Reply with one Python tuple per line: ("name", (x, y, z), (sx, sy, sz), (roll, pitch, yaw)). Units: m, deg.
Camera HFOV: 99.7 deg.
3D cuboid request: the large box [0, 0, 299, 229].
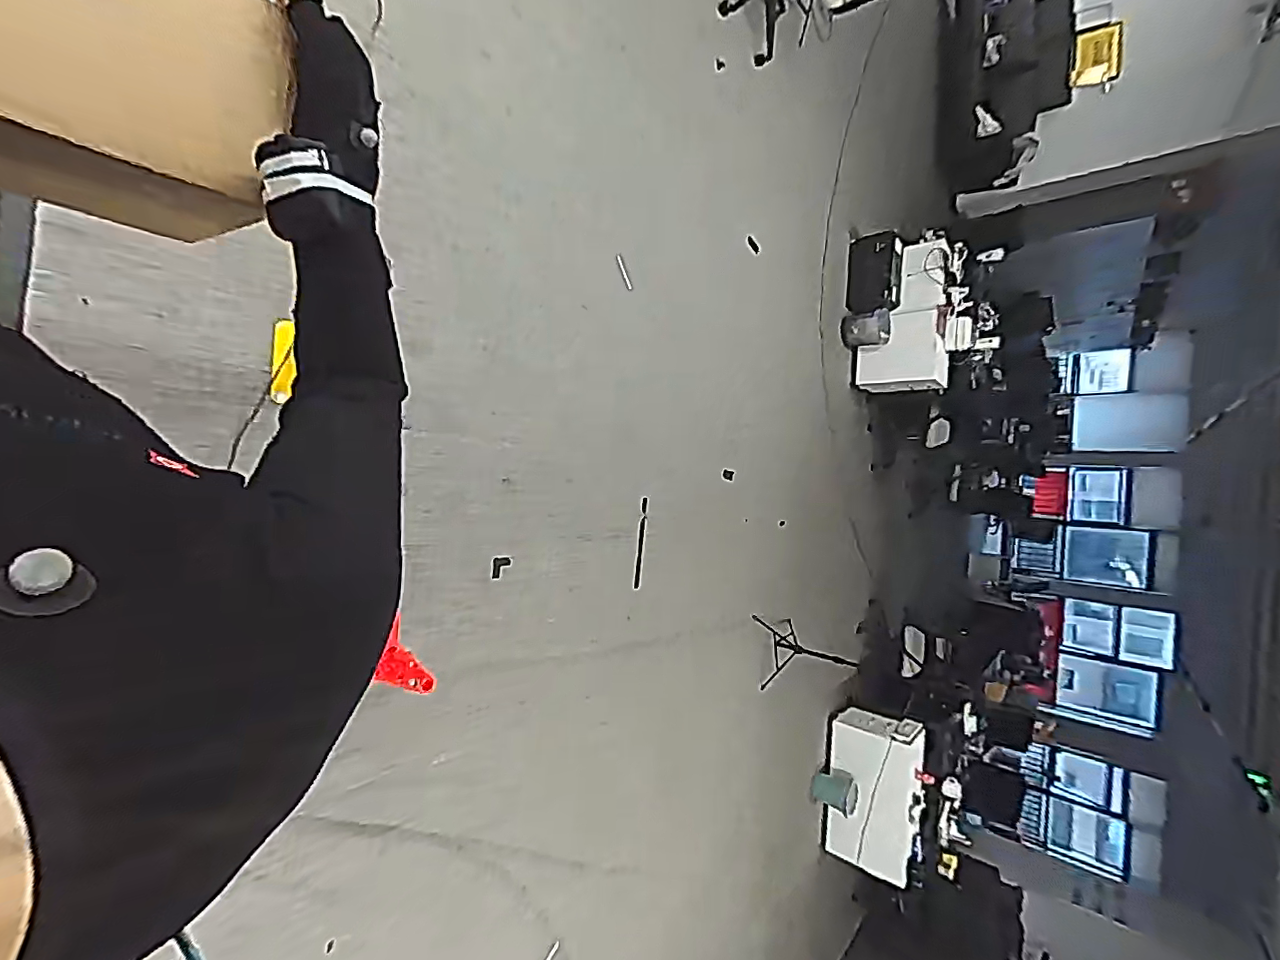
("large box", (-0.511, -0.410, 0.366), (0.408, 0.320, 0.320), (2, 101, -52))
